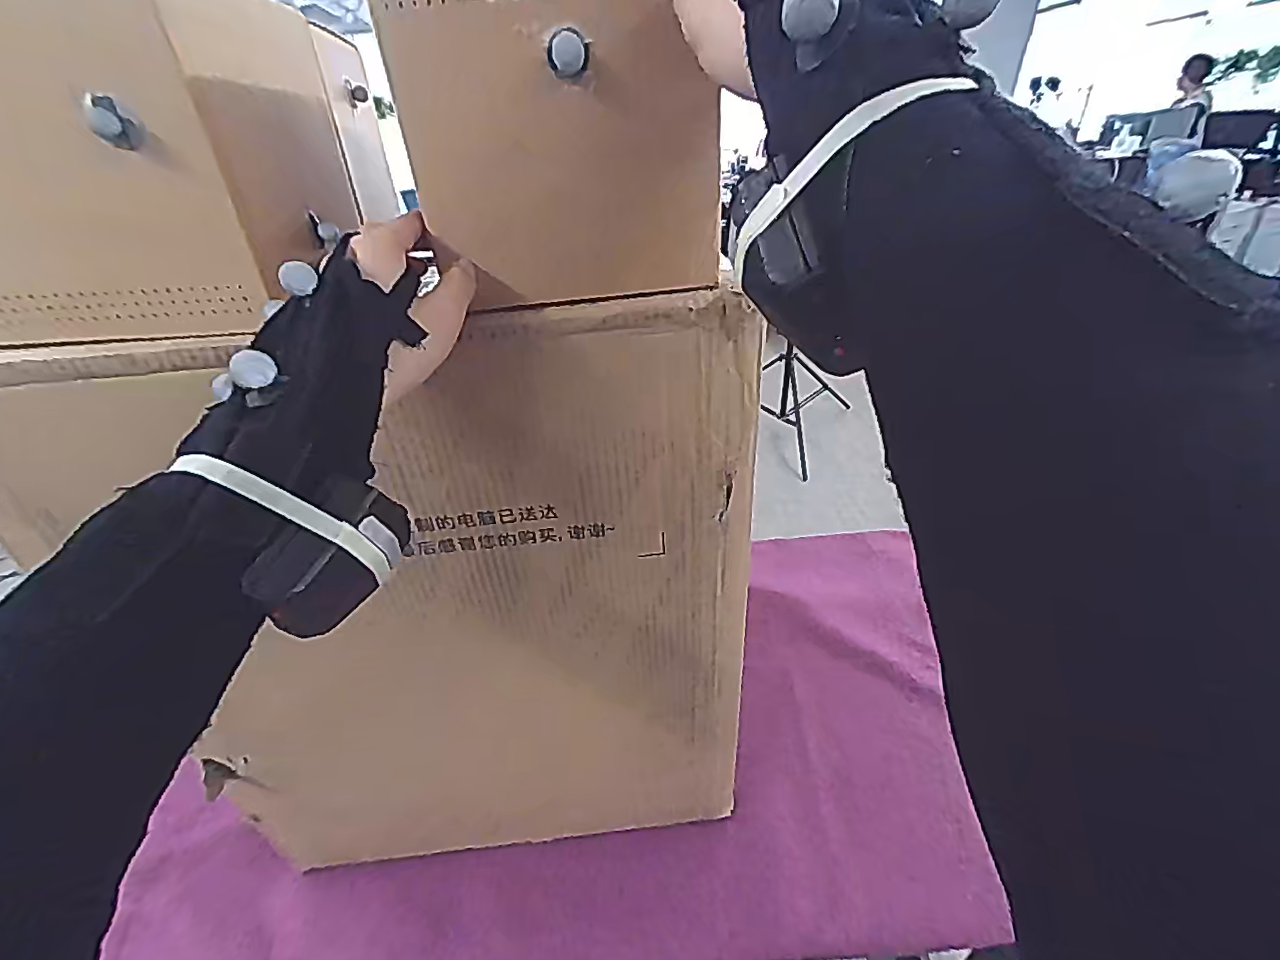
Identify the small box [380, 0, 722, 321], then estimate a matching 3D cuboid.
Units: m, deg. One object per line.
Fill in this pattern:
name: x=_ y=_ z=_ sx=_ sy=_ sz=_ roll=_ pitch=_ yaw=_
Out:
small box: x=-0.044 y=-0.218 z=0.351 sx=0.168 sy=0.176 sz=0.179 roll=-7 pitch=32 yaw=-3
